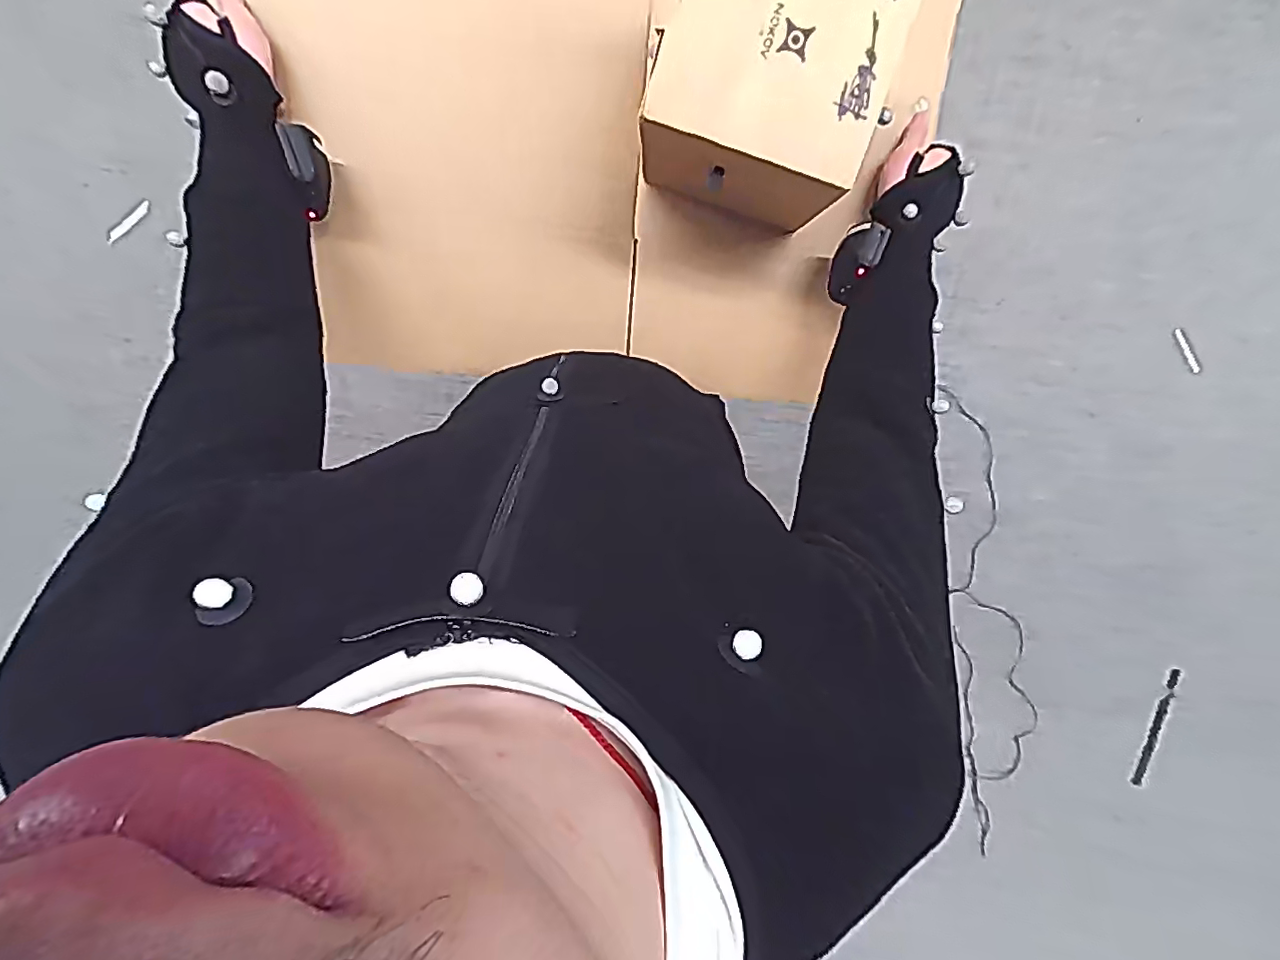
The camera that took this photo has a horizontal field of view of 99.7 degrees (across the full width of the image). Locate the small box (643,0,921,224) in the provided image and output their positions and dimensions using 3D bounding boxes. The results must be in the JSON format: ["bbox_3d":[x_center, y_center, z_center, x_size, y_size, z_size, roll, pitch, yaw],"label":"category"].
[{"bbox_3d":[0.111,-0.350,0.481,0.179,0.176,0.168,18,104,-3],"label":"small box"}]
